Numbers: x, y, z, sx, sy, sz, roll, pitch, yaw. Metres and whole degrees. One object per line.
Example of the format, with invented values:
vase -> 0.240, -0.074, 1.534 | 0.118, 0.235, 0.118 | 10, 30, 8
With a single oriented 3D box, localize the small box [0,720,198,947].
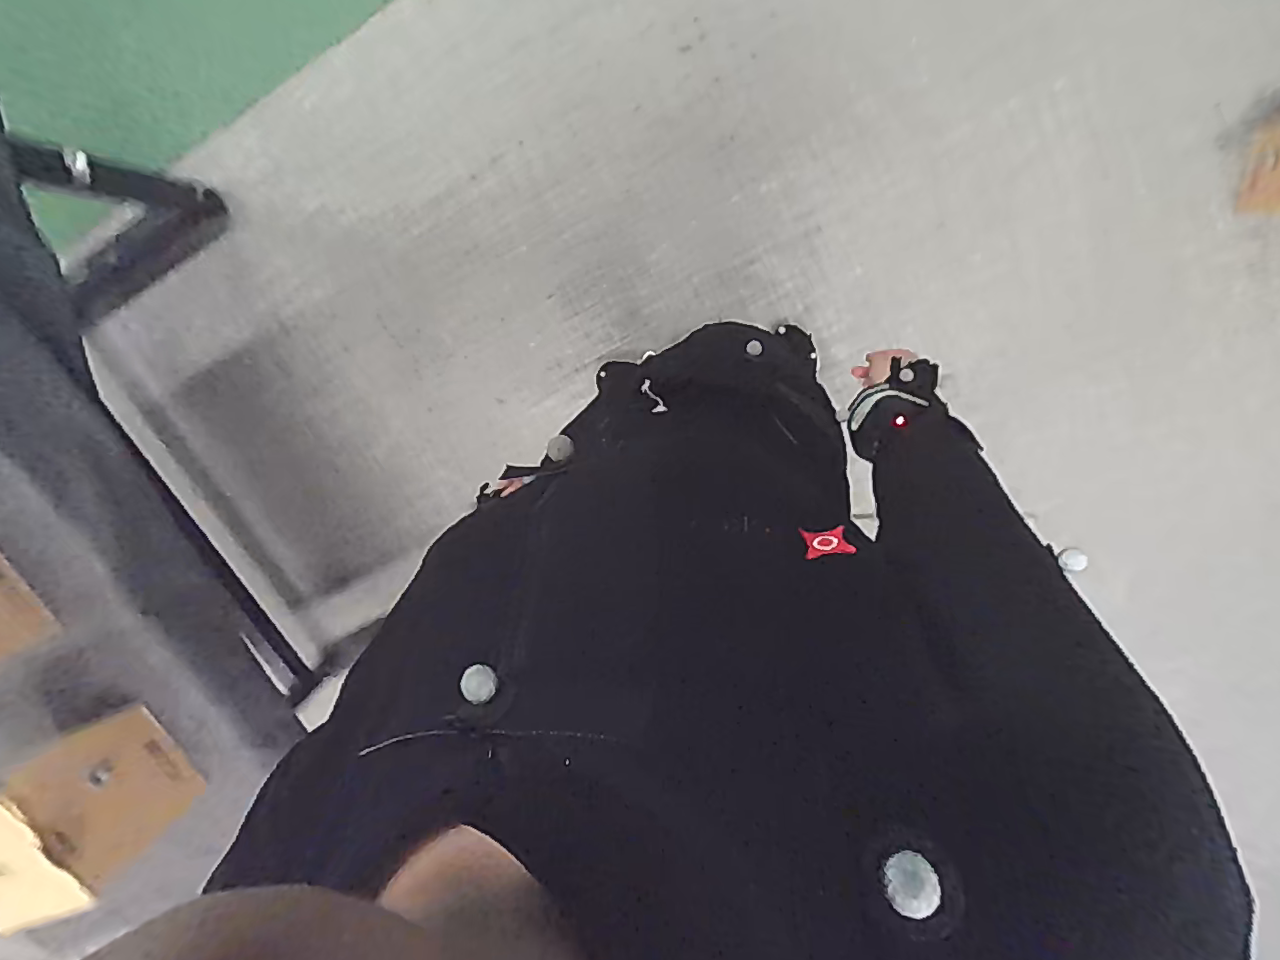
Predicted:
small box -> -0.737, 0.449, 0.707 | 0.179, 0.176, 0.168 | -23, 102, 12
